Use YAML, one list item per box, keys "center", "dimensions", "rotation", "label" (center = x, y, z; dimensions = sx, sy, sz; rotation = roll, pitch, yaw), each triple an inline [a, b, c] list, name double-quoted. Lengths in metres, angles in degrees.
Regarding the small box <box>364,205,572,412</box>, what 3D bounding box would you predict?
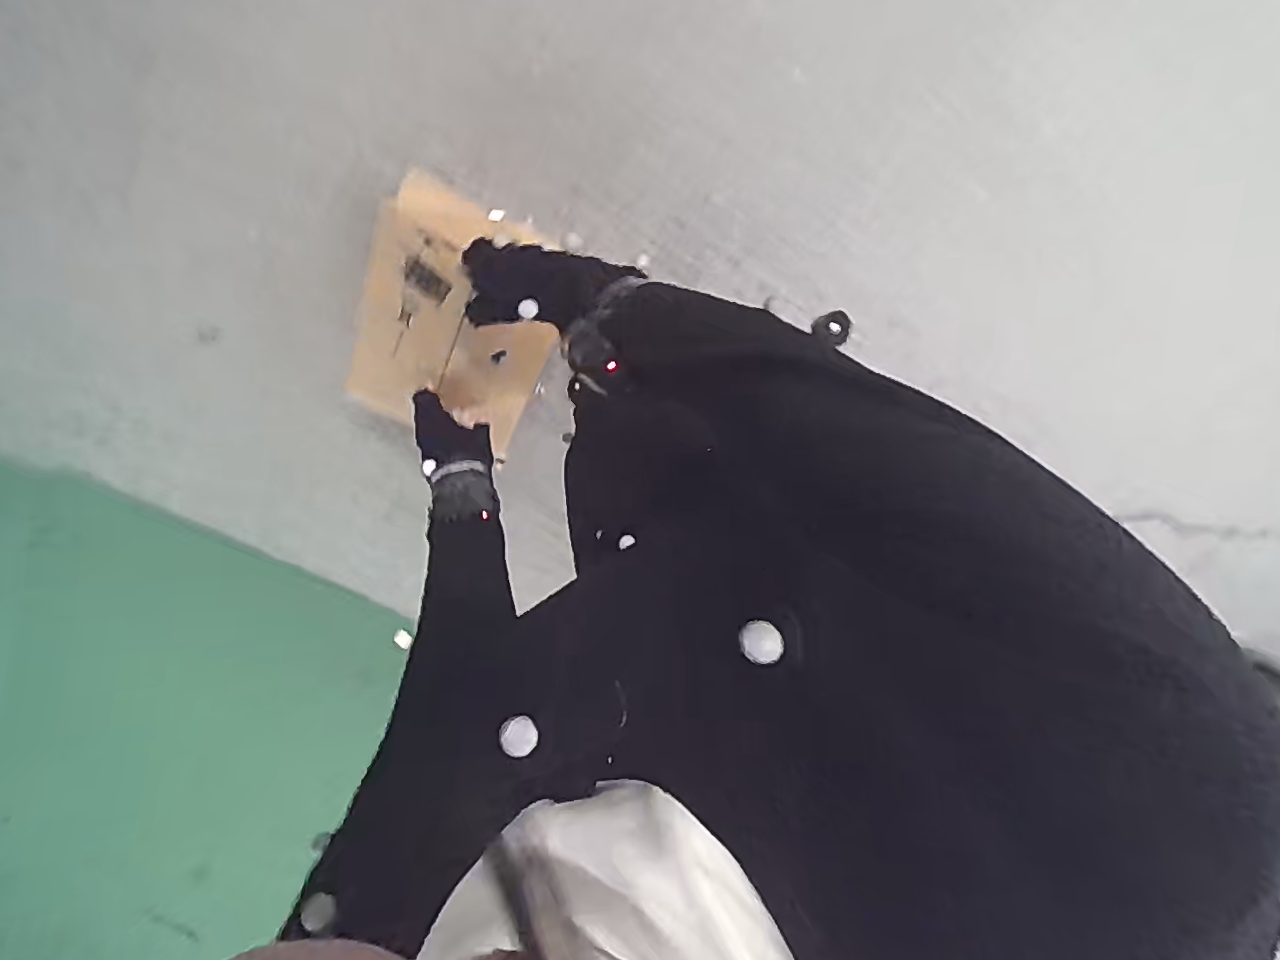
- center: [-0.213, -0.214, 0.690]
  dimensions: [0.168, 0.176, 0.179]
  rotation: [44, 125, 16]
  label: "small box"
